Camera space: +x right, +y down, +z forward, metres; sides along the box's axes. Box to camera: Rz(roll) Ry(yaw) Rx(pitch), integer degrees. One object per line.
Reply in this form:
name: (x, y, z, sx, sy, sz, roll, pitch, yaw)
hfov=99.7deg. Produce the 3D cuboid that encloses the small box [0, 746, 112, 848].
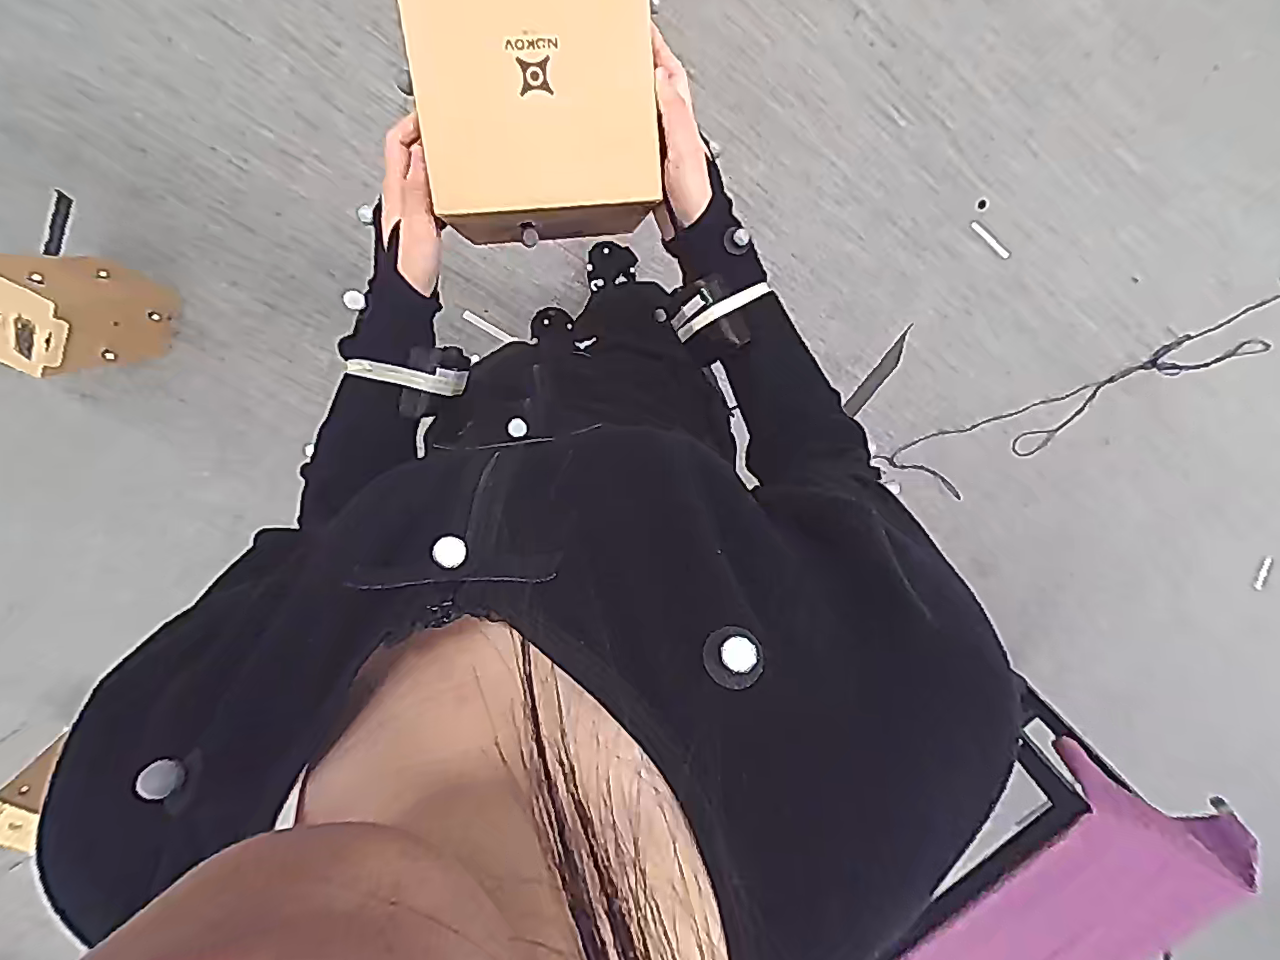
small box: (-1.701, 0.903, 1.554, 0.179, 0.176, 0.168, 35, 107, -17)

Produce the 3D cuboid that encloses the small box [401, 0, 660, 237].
small box: (-0.079, -0.303, 0.441, 0.168, 0.176, 0.179, -7, 106, -6)

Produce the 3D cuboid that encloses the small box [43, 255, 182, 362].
small box: (-1.206, -0.395, 1.234, 0.179, 0.176, 0.168, 27, 107, -13)

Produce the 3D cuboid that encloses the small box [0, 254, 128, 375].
small box: (-1.192, -0.336, 1.081, 0.179, 0.176, 0.168, 28, 107, -14)
